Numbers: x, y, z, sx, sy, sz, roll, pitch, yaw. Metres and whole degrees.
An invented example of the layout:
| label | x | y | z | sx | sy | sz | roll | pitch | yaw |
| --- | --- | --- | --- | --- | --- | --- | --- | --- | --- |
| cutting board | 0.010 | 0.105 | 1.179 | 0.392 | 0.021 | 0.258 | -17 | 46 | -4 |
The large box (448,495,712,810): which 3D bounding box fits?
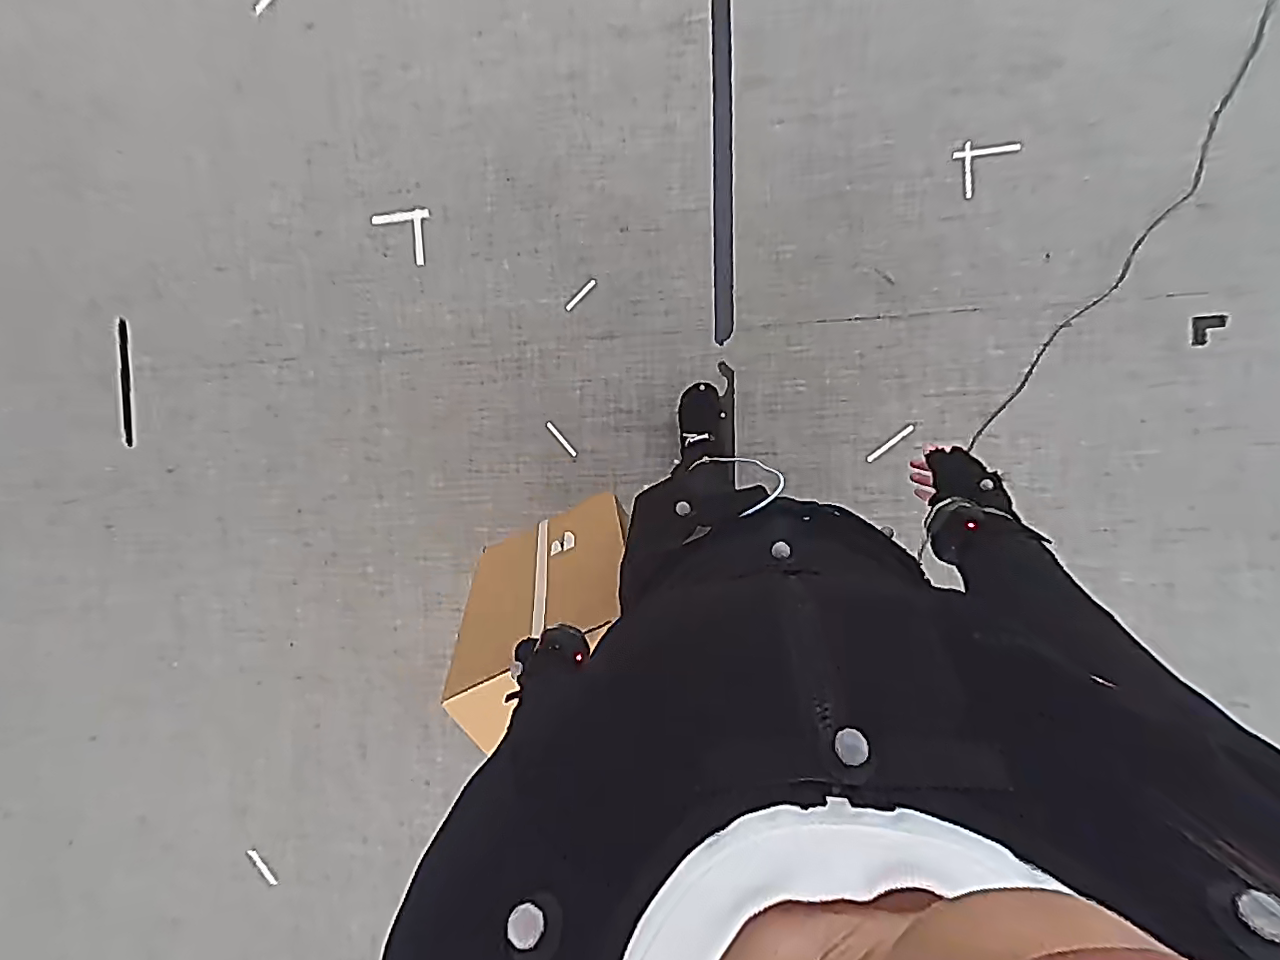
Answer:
| label | x | y | z | sx | sy | sz | roll | pitch | yaw |
| --- | --- | --- | --- | --- | --- | --- | --- | --- | --- |
| large box | -0.102 | 0.293 | 1.007 | 0.320 | 0.408 | 0.320 | -25 | 113 | 4 |
